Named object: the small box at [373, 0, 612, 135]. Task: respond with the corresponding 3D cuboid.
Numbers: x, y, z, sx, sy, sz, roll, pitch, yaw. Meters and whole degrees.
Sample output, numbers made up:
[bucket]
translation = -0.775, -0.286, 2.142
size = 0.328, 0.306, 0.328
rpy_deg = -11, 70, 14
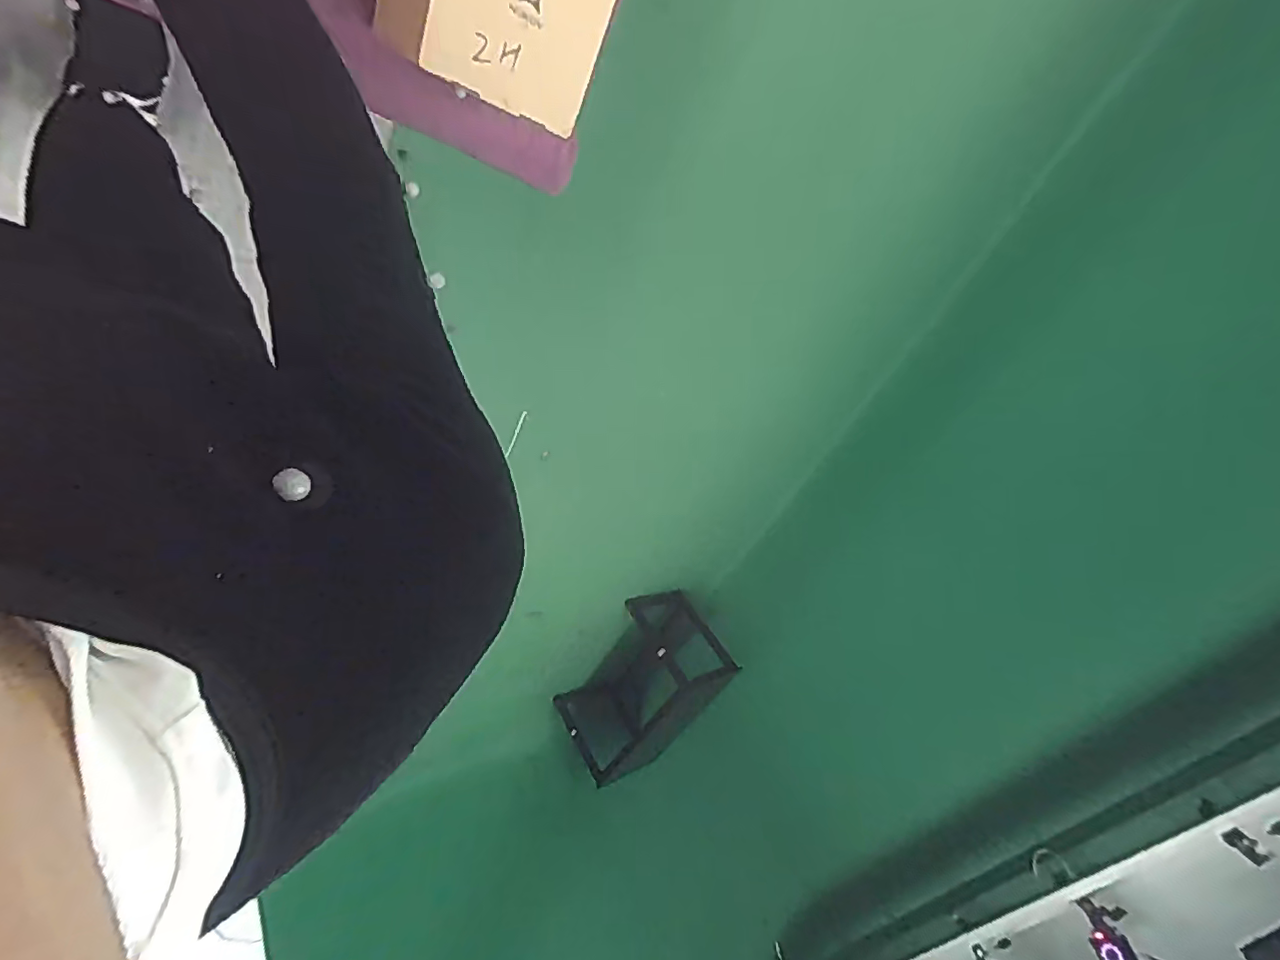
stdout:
[small box]
translation = -0.148, -0.492, 0.537
size = 0.168, 0.176, 0.179
rpy_deg = 0, 131, -43
